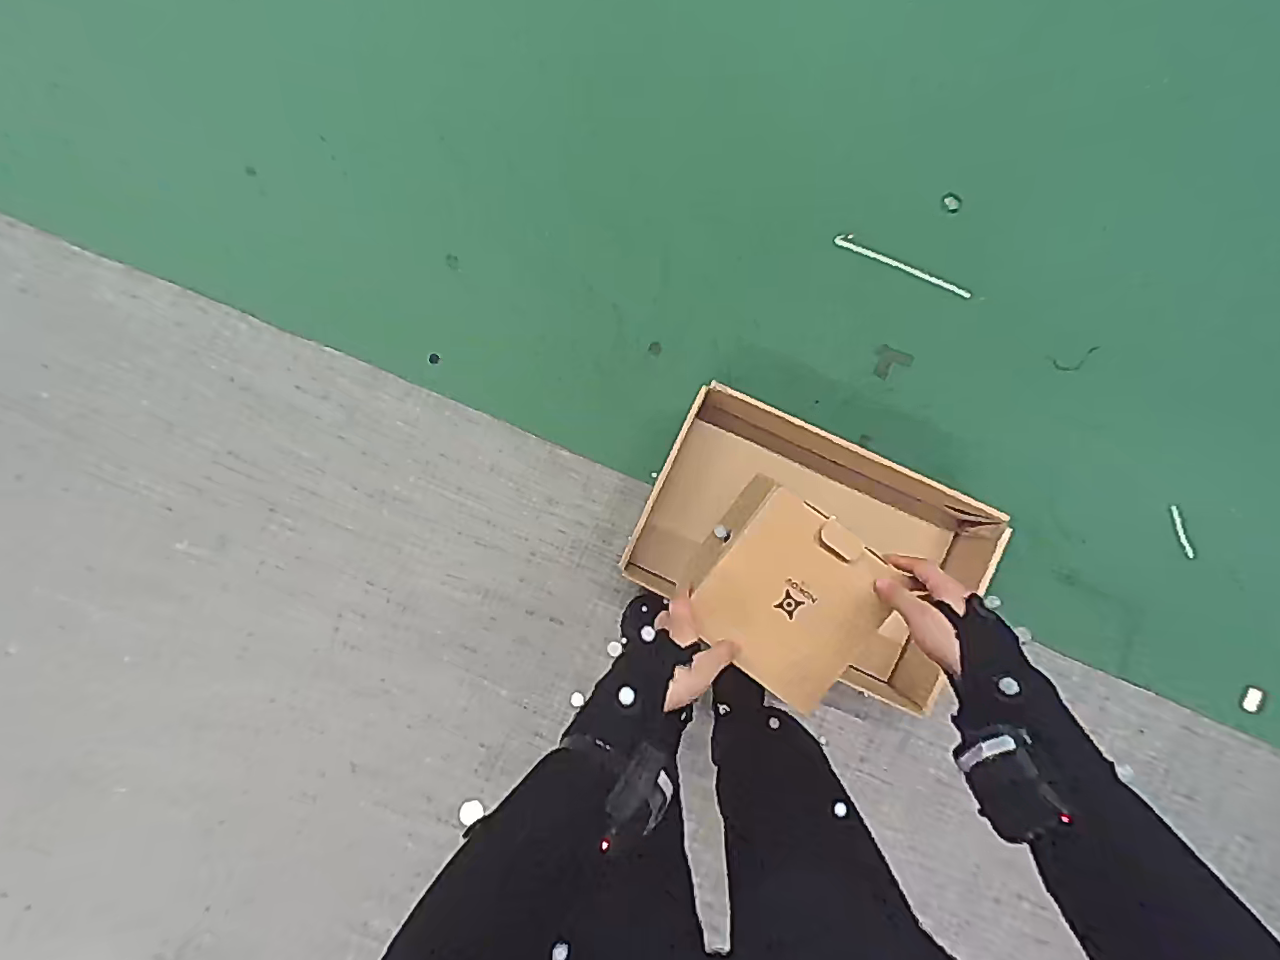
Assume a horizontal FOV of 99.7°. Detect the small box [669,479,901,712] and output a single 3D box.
[{"bbox_3d":[0.152,0.116,0.622,0.168,0.176,0.179,37,96,1],"label":"small box"}]
